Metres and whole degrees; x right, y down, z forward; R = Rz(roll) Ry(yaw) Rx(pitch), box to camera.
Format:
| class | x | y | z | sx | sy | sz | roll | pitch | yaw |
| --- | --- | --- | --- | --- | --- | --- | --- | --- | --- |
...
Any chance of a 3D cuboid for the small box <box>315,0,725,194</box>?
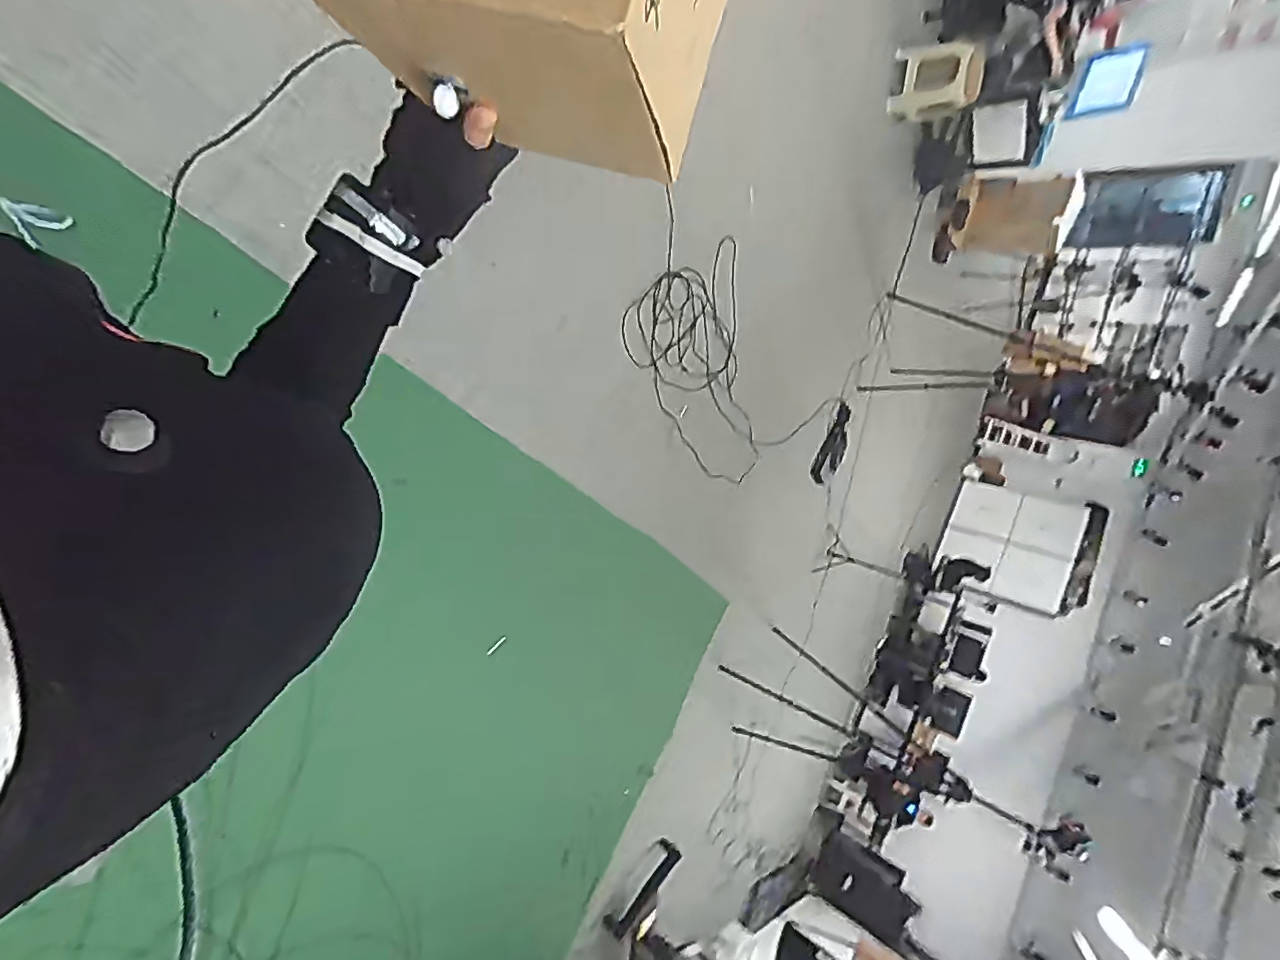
| class | x | y | z | sx | sy | sz | roll | pitch | yaw |
| --- | --- | --- | --- | --- | --- | --- | --- | --- | --- |
| small box | -0.047 | -0.286 | 0.288 | 0.179 | 0.176 | 0.168 | -48 | 155 | -77 |
